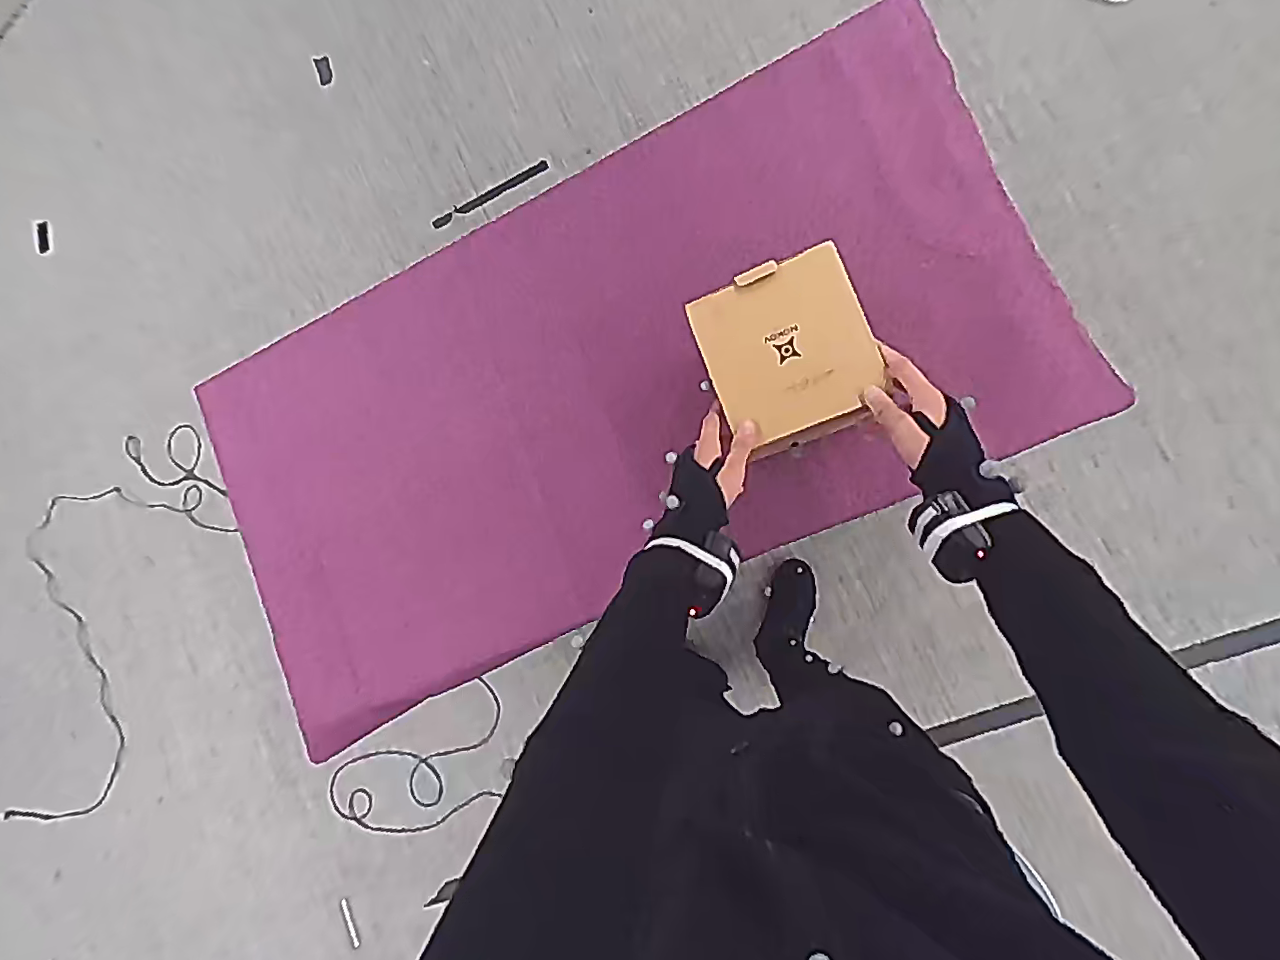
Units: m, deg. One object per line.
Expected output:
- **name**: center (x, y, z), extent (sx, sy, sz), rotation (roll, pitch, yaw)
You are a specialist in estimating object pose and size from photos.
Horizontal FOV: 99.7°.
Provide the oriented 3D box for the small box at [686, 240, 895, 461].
- **small box**: center (0.165, -0.133, 0.629), extent (0.168, 0.176, 0.179), rotation (-21, 83, 12)
